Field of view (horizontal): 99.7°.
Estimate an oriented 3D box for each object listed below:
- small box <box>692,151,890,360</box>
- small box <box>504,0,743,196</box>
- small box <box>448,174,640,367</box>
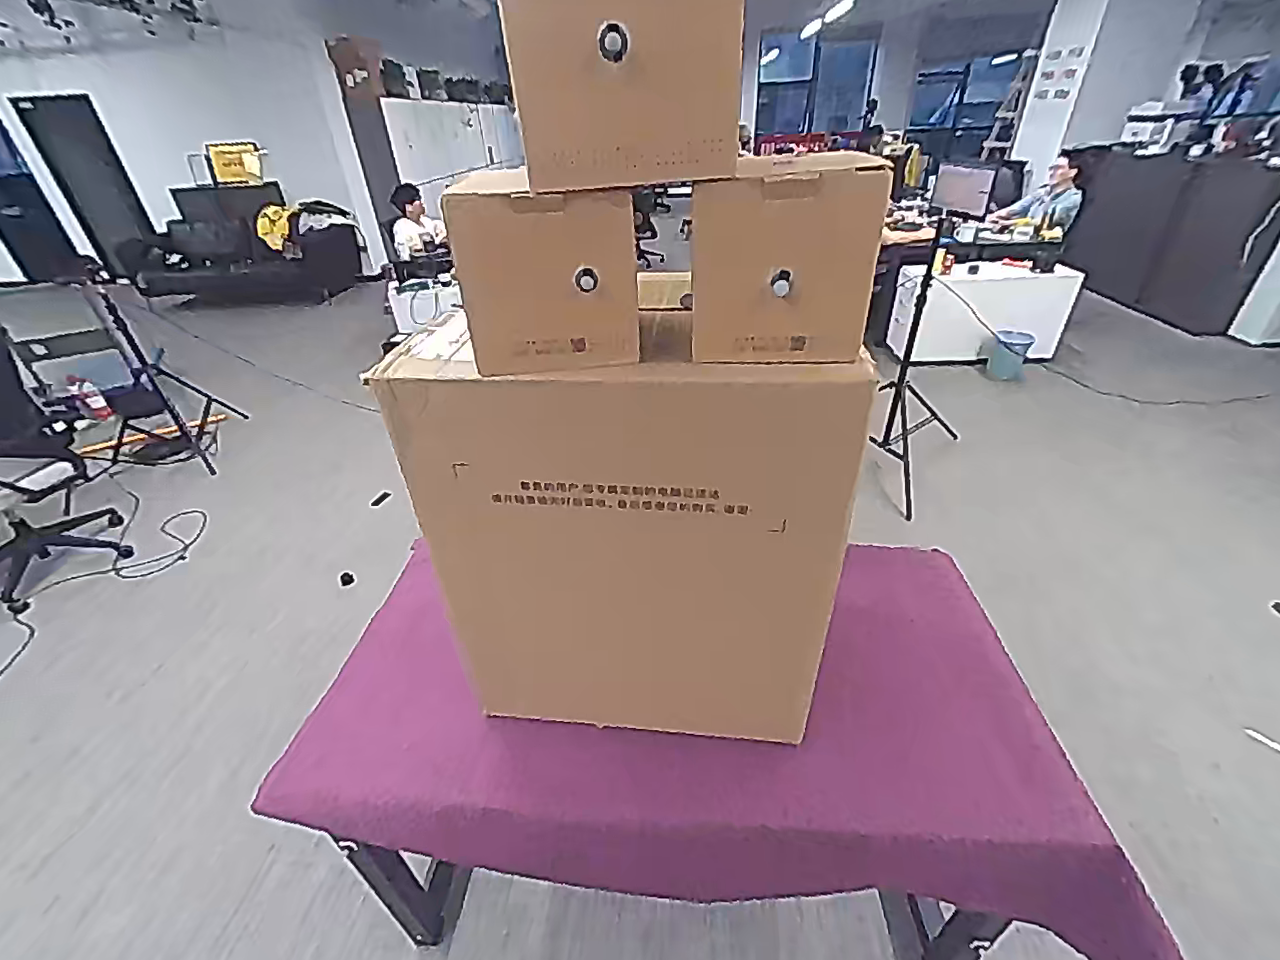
[{"bbox_3d":[0.142,-0.234,0.566,0.168,0.176,0.179,2,35,8],"label":"small box"},{"bbox_3d":[-0.009,-0.358,0.471,0.179,0.176,0.168,-5,35,2],"label":"small box"},{"bbox_3d":[-0.090,-0.227,0.580,0.168,0.176,0.179,-4,34,-4],"label":"small box"}]
